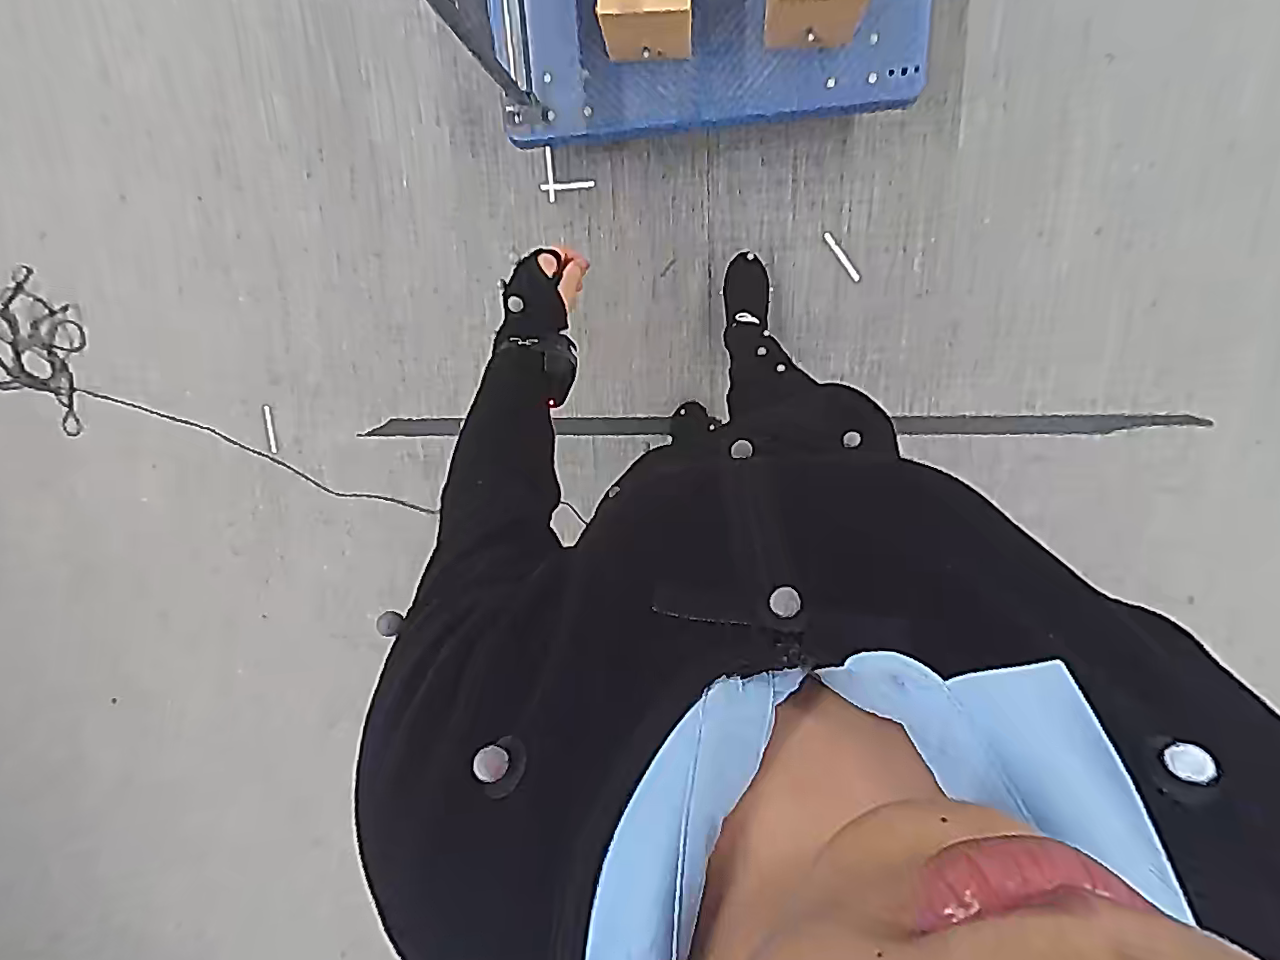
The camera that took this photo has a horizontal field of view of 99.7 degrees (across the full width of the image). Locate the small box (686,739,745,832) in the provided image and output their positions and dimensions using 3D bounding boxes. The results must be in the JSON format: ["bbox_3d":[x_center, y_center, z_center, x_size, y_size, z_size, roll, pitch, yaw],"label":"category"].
[{"bbox_3d":[0.225,0.907,1.611,0.168,0.176,0.179,-3,102,6],"label":"small box"}]

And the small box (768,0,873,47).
[{"bbox_3d":[0.327,-0.925,0.972,0.168,0.176,0.179,2,104,6],"label":"small box"}]
